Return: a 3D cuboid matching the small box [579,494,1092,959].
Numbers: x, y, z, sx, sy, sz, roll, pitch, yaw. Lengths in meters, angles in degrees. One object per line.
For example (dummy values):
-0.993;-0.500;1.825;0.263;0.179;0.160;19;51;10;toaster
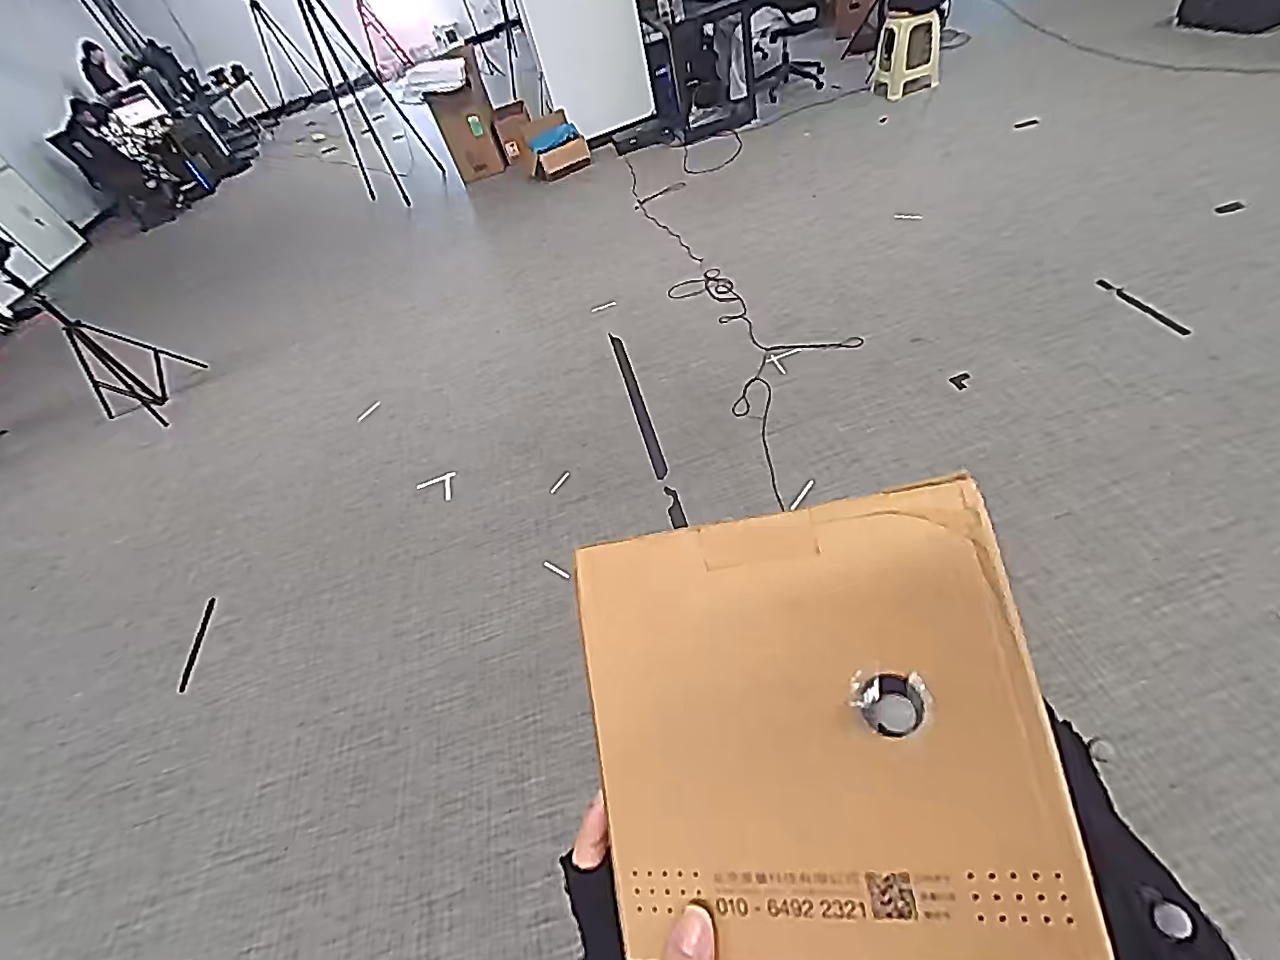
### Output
0.088;0.112;0.284;0.168;0.179;0.176;-12;79;17;small box
